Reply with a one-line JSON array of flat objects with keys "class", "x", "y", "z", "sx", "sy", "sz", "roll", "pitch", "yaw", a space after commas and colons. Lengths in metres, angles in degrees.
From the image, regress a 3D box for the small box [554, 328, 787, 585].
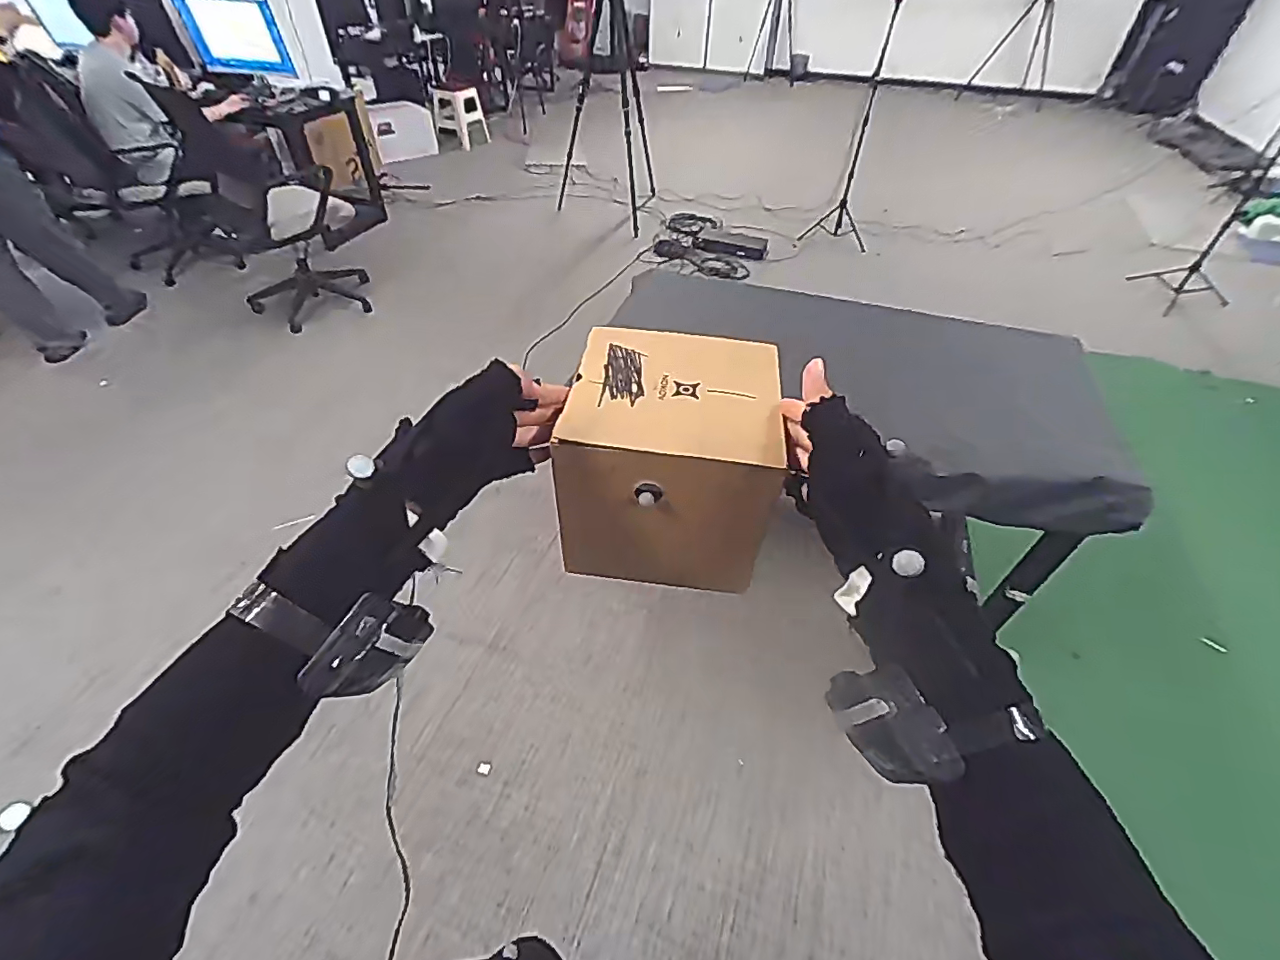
[{"class": "small box", "x": 0.029, "y": -0.020, "z": 0.506, "sx": 0.179, "sy": 0.176, "sz": 0.168, "roll": 7, "pitch": 46, "yaw": 4}]
